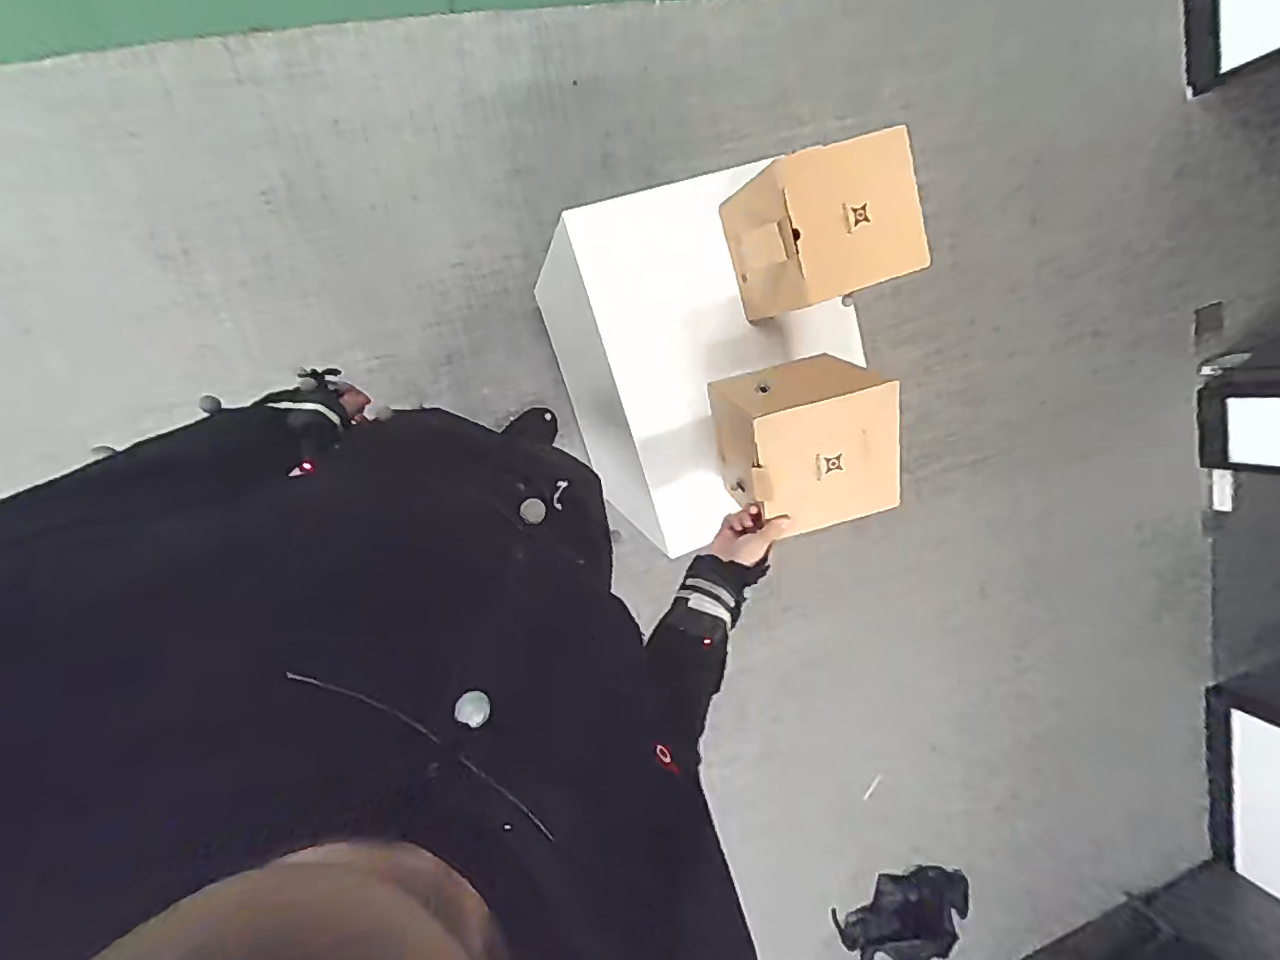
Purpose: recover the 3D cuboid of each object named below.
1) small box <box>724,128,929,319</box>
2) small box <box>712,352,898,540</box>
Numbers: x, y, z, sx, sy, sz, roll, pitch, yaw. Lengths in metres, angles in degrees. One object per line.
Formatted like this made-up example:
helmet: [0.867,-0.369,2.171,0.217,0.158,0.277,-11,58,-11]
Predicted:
small box: [0.235,-0.322,0.710,0.179,0.176,0.168,-21,104,-9]
small box: [0.200,-0.052,0.692,0.179,0.176,0.168,-16,117,-5]
